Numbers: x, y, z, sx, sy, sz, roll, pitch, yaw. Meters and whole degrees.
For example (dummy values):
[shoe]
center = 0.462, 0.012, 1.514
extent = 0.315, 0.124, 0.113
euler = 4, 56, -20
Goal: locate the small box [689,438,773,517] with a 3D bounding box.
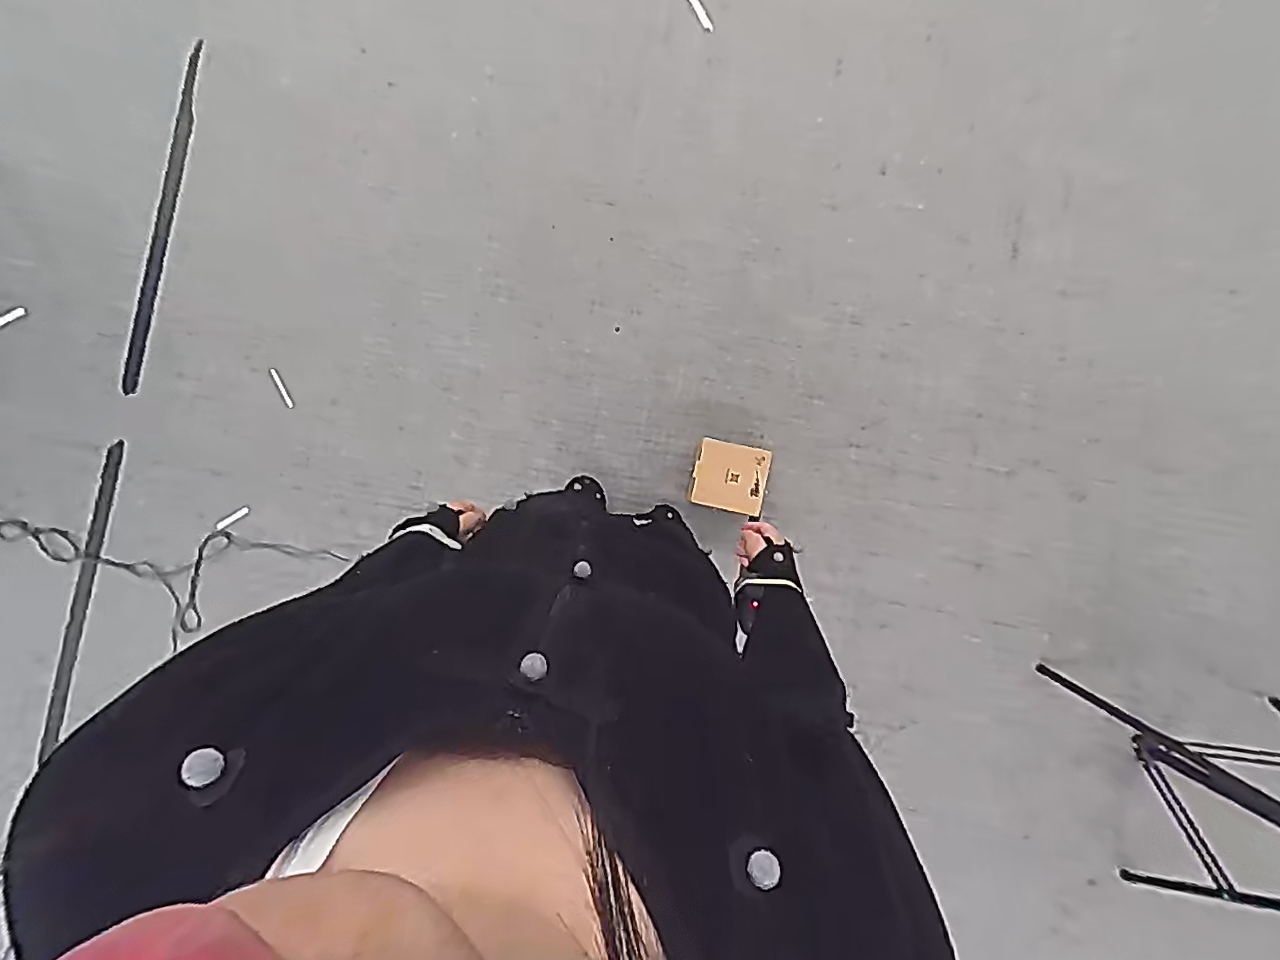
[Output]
[small box]
center = 0.229, -0.003, 1.410
extent = 0.179, 0.176, 0.168
euler = 13, 90, 3
